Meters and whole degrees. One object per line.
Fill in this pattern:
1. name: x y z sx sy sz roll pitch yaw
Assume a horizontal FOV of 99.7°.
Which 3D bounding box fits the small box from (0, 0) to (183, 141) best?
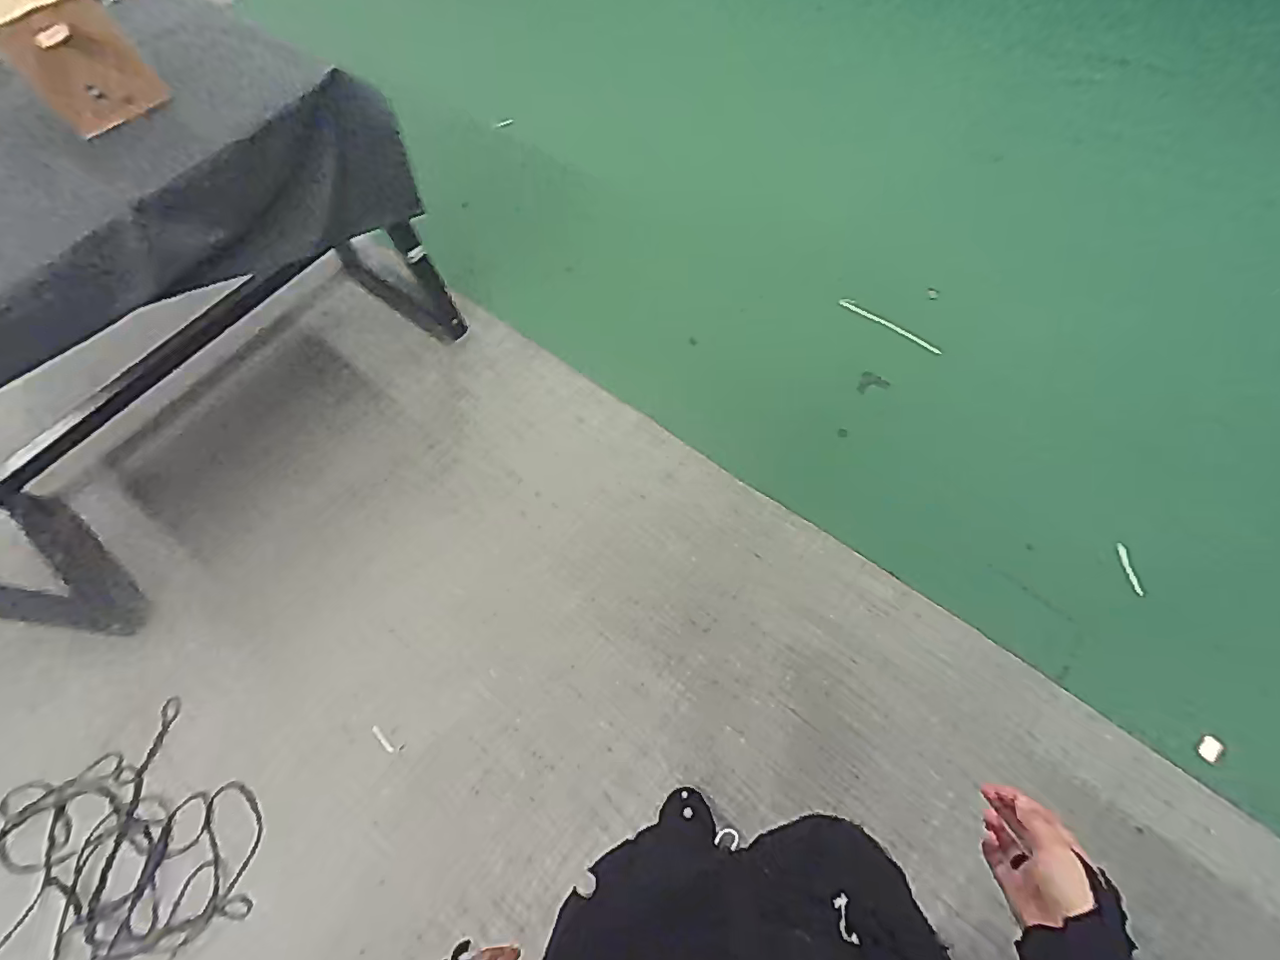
1. small box: -0.964 -0.738 0.944 0.168 0.176 0.179 -39 69 -13
